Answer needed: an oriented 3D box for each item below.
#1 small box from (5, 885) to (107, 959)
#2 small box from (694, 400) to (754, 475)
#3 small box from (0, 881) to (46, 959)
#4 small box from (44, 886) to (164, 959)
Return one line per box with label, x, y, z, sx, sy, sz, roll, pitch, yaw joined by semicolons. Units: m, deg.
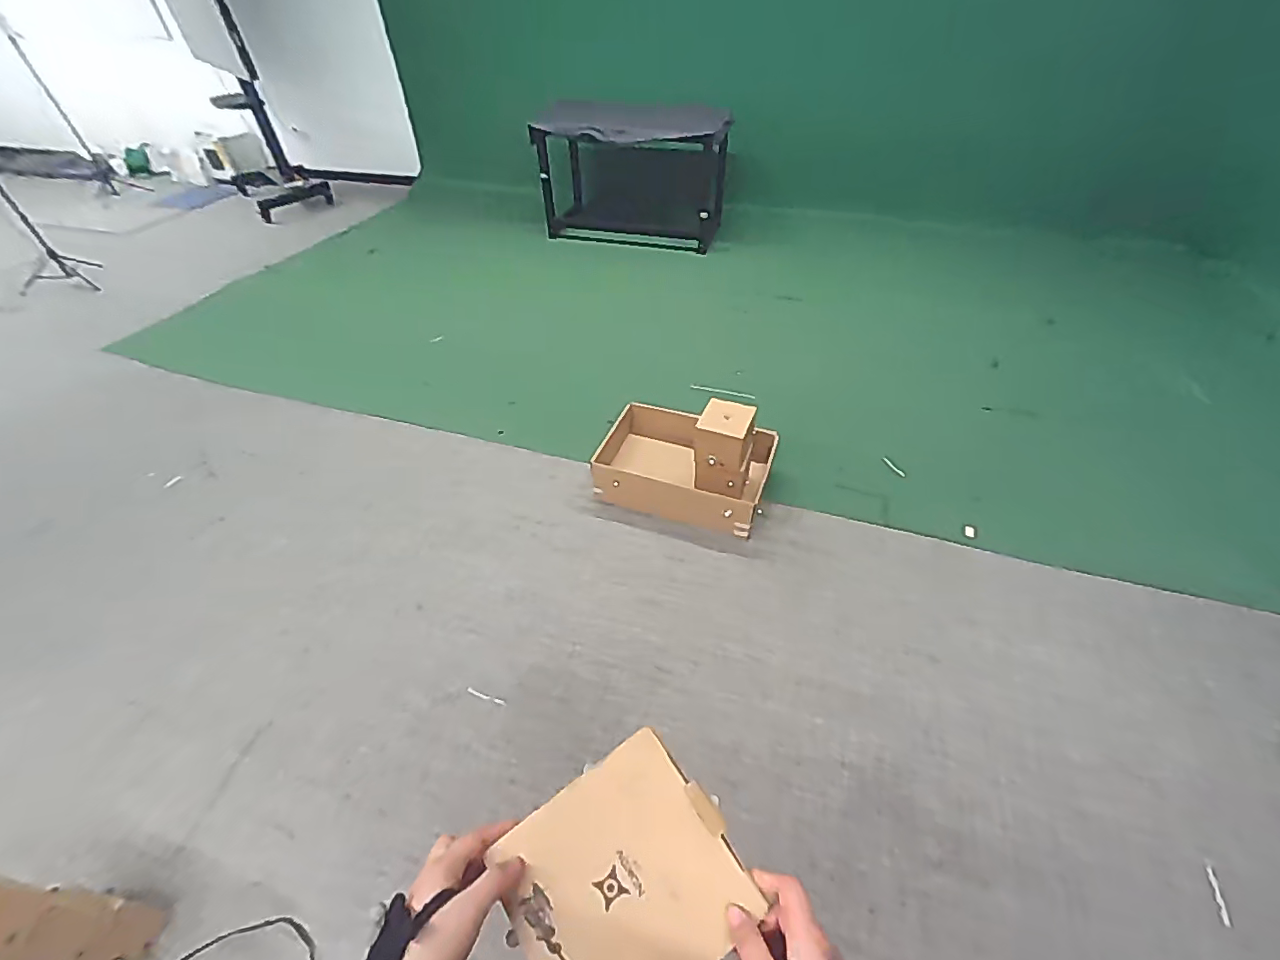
small box;-1.142;0.848;0.964;0.179;0.176;0.168;10;46;11
small box;0.286;-0.147;1.865;0.168;0.176;0.179;15;48;18
small box;-1.140;0.728;0.855;0.179;0.176;0.168;9;45;10
small box;-1.136;0.953;1.091;0.179;0.176;0.168;6;44;10
